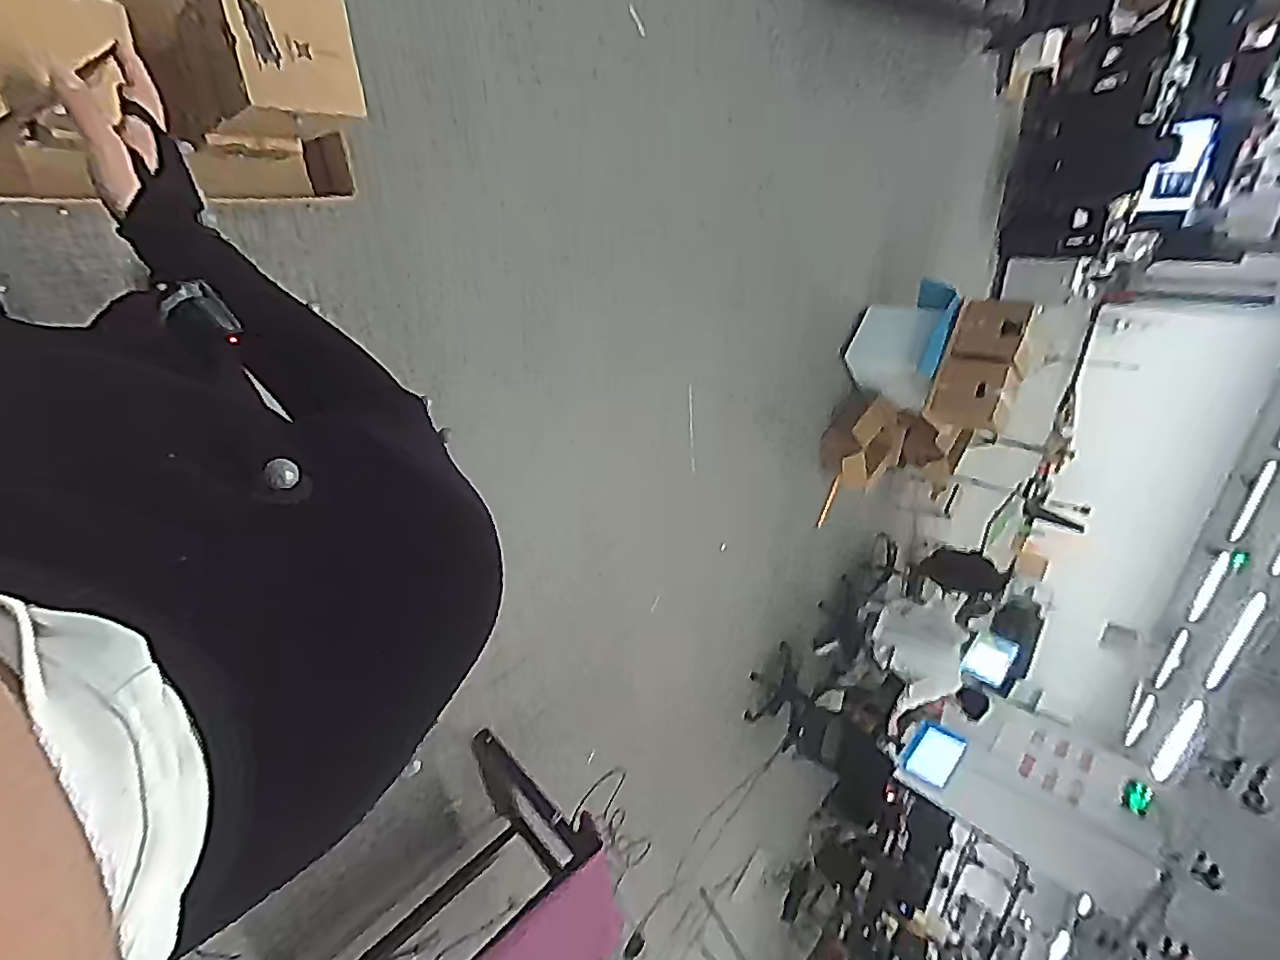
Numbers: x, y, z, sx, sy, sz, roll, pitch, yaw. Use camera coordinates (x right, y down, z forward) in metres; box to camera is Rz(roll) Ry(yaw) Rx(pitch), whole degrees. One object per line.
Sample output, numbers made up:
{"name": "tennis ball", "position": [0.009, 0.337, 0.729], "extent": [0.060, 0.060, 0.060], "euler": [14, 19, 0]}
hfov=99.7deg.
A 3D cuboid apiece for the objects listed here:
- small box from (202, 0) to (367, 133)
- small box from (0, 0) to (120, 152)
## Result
{"name": "small box", "position": [-0.581, -0.677, 0.881], "extent": [0.179, 0.176, 0.168], "euler": [-23, 123, -39]}
{"name": "small box", "position": [-0.576, -0.366, 0.422], "extent": [0.179, 0.176, 0.168], "euler": [-56, 138, -18]}
